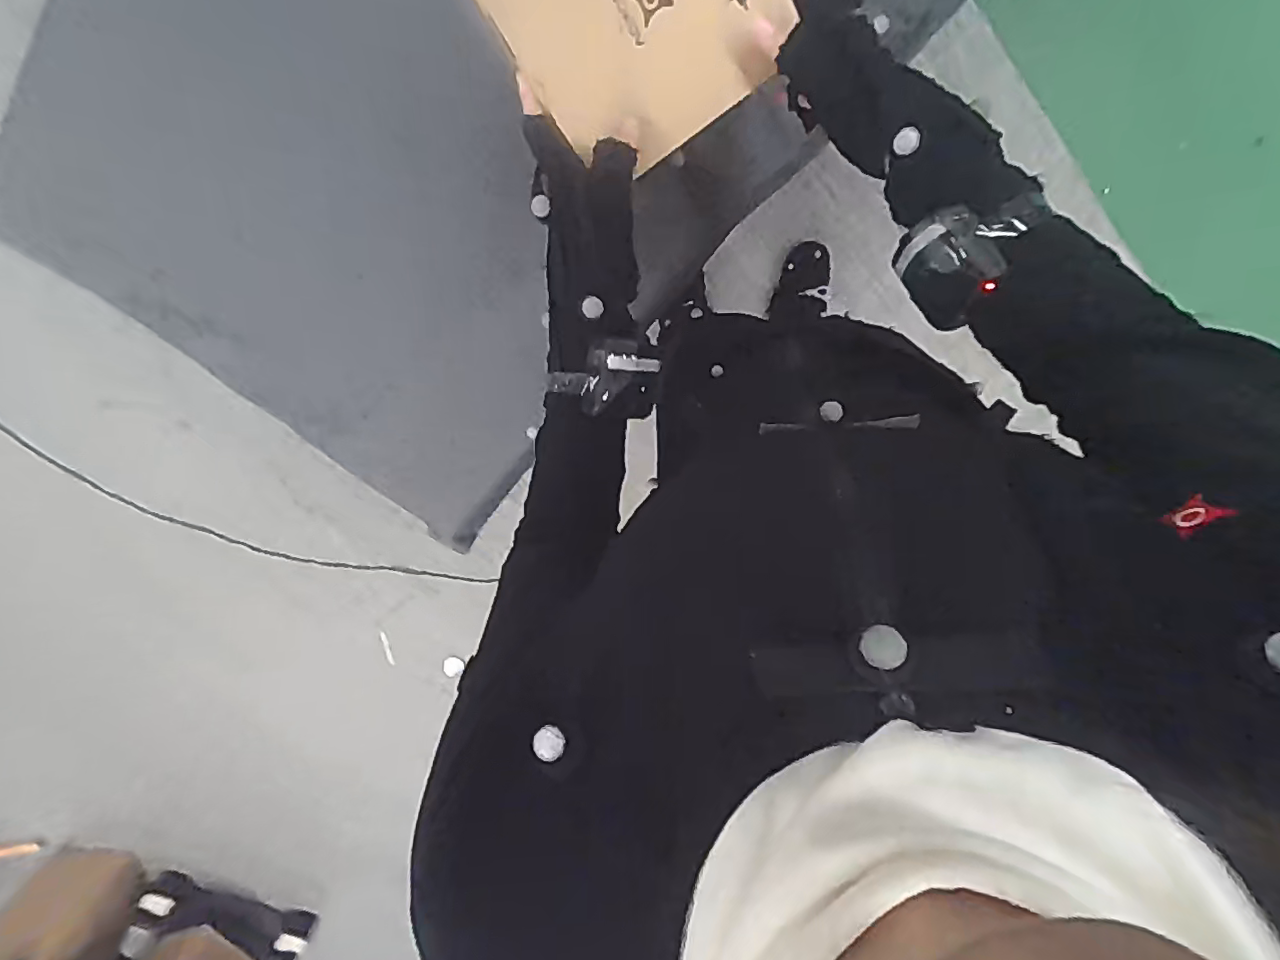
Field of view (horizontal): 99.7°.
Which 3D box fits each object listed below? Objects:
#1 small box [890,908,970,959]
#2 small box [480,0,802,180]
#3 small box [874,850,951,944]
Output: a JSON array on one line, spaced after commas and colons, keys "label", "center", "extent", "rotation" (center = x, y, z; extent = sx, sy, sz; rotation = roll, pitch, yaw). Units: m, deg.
[{"label": "small box", "center": [0.835, 1.354, 1.533], "extent": [0.168, 0.176, 0.179], "rotation": [-20, 111, 10]}, {"label": "small box", "center": [-0.007, -0.360, 0.422], "extent": [0.179, 0.176, 0.168], "rotation": [-32, 114, 14]}, {"label": "small box", "center": [0.847, 1.299, 1.688], "extent": [0.168, 0.176, 0.179], "rotation": [-12, 112, 7]}]
